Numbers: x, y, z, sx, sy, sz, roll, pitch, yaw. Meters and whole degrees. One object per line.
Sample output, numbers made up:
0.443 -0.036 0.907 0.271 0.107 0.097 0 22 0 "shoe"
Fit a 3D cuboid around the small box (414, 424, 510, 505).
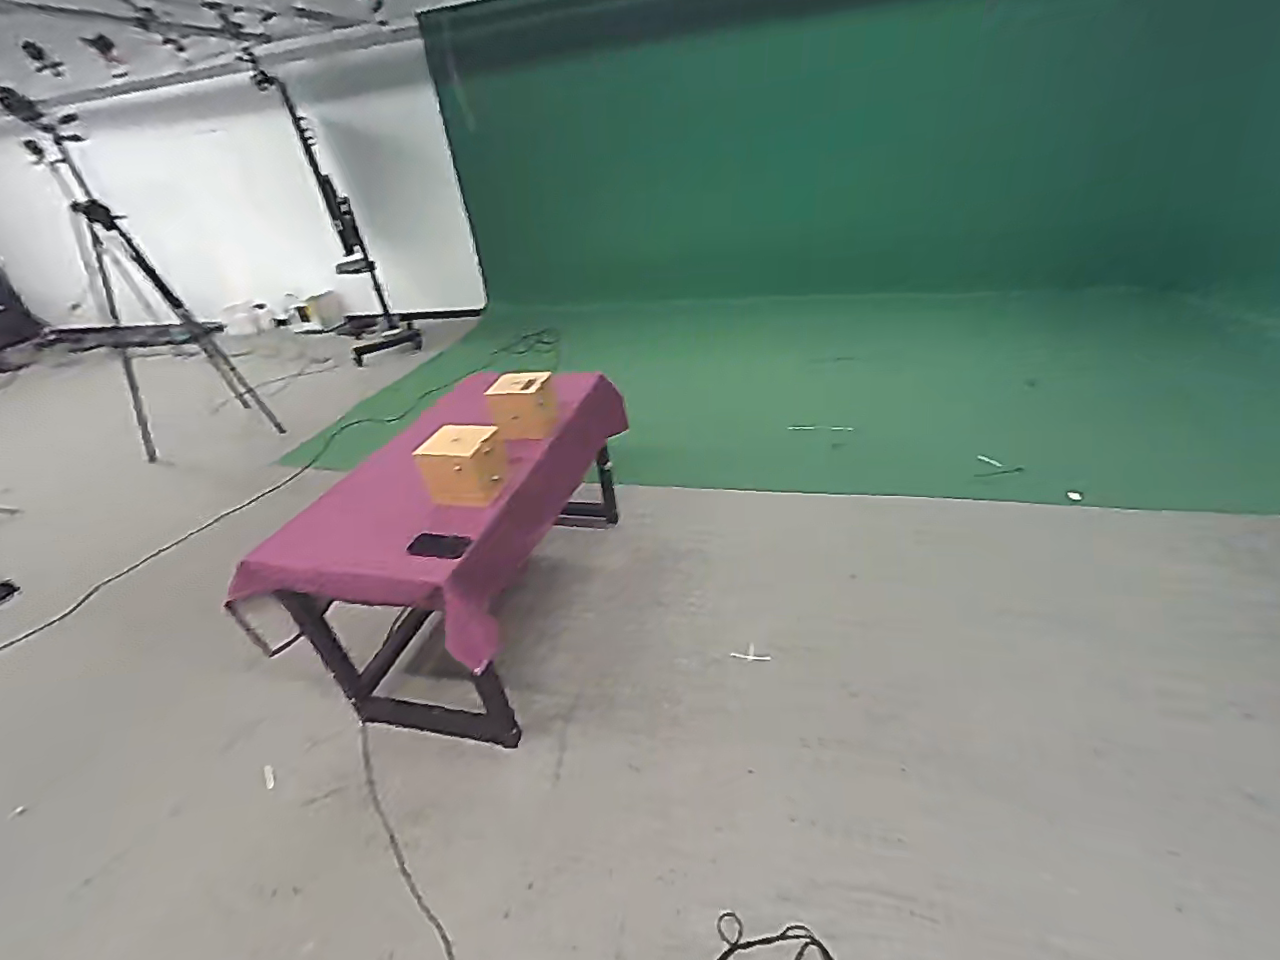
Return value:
-0.490 -0.043 1.514 0.179 0.176 0.168 4 34 15 "small box"
